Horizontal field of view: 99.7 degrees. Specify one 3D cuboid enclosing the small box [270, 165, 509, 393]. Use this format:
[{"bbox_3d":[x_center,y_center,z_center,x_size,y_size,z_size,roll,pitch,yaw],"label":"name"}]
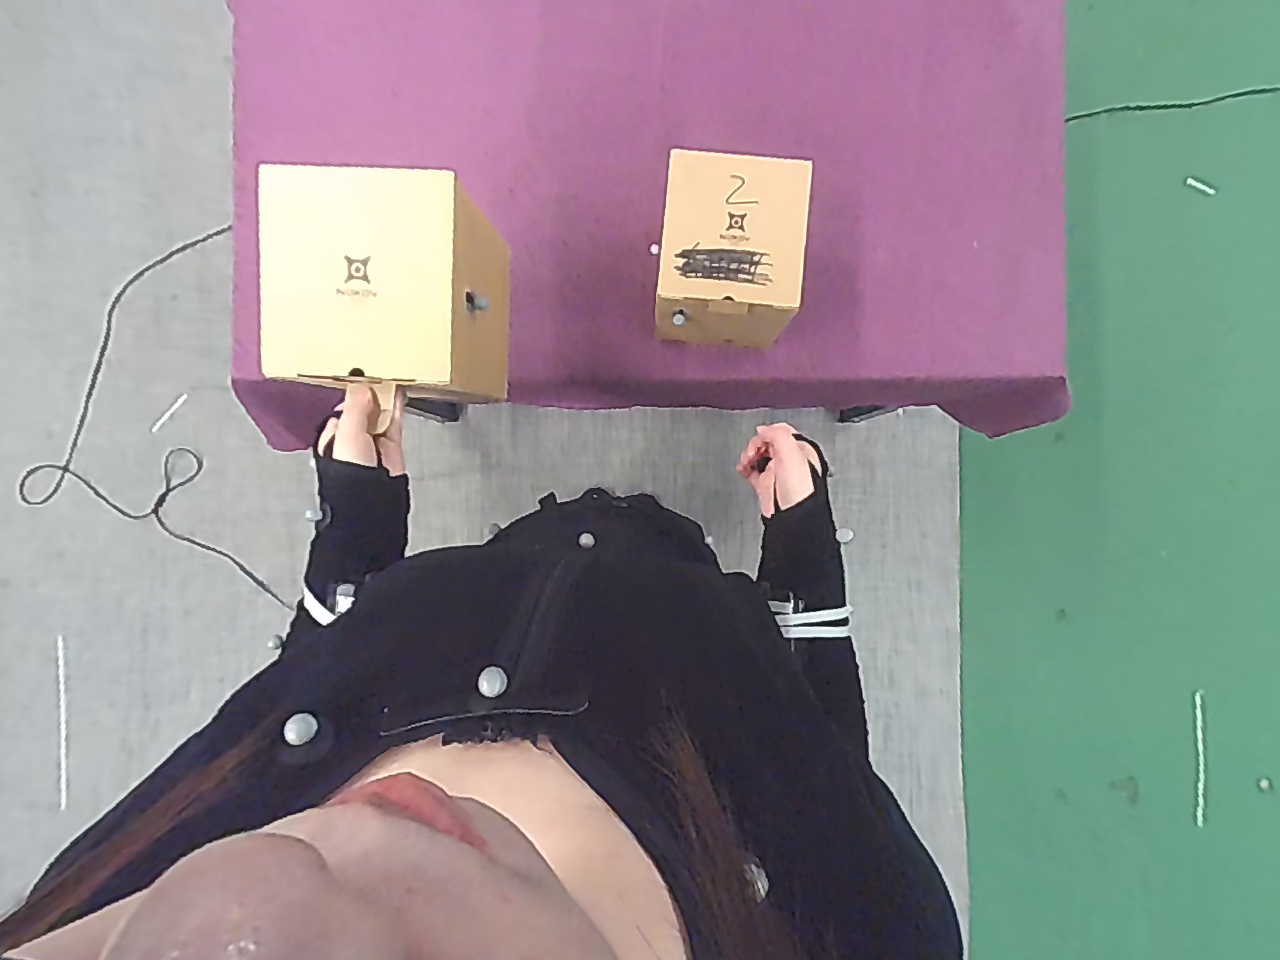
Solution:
[{"bbox_3d":[-0.236,-0.185,0.547,0.168,0.176,0.179,3,96,1],"label":"small box"}]
